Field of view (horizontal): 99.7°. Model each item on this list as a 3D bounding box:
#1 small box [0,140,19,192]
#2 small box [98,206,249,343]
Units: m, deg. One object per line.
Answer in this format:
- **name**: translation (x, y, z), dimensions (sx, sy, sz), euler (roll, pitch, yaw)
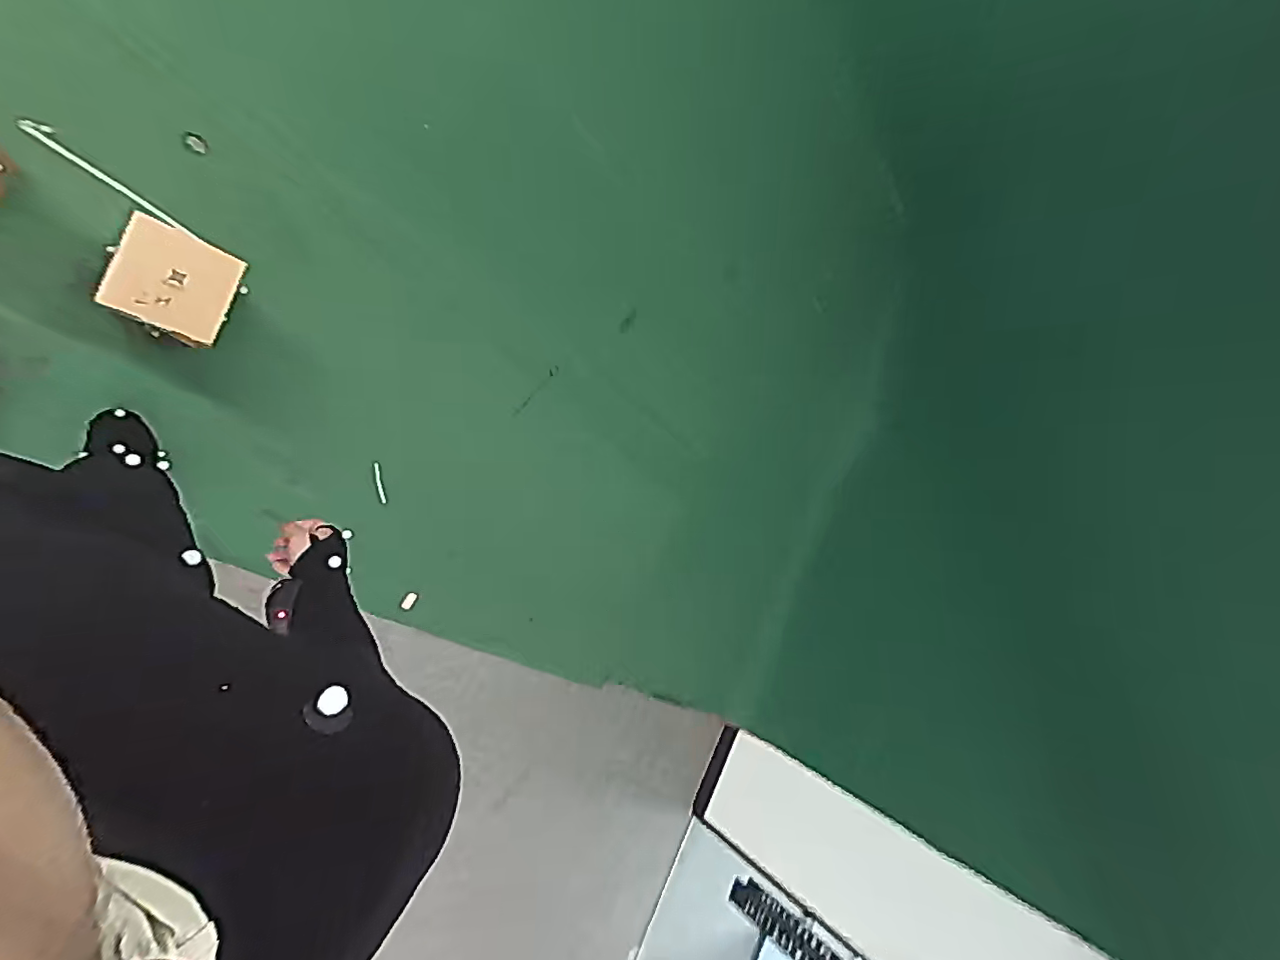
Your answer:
- **small box**: translation (-1.227, -0.562, 0.918), dimensions (0.168, 0.176, 0.179), euler (34, 76, -38)
- **small box**: translation (-0.877, -0.377, 1.026), dimensions (0.168, 0.176, 0.179), euler (24, 84, -39)
